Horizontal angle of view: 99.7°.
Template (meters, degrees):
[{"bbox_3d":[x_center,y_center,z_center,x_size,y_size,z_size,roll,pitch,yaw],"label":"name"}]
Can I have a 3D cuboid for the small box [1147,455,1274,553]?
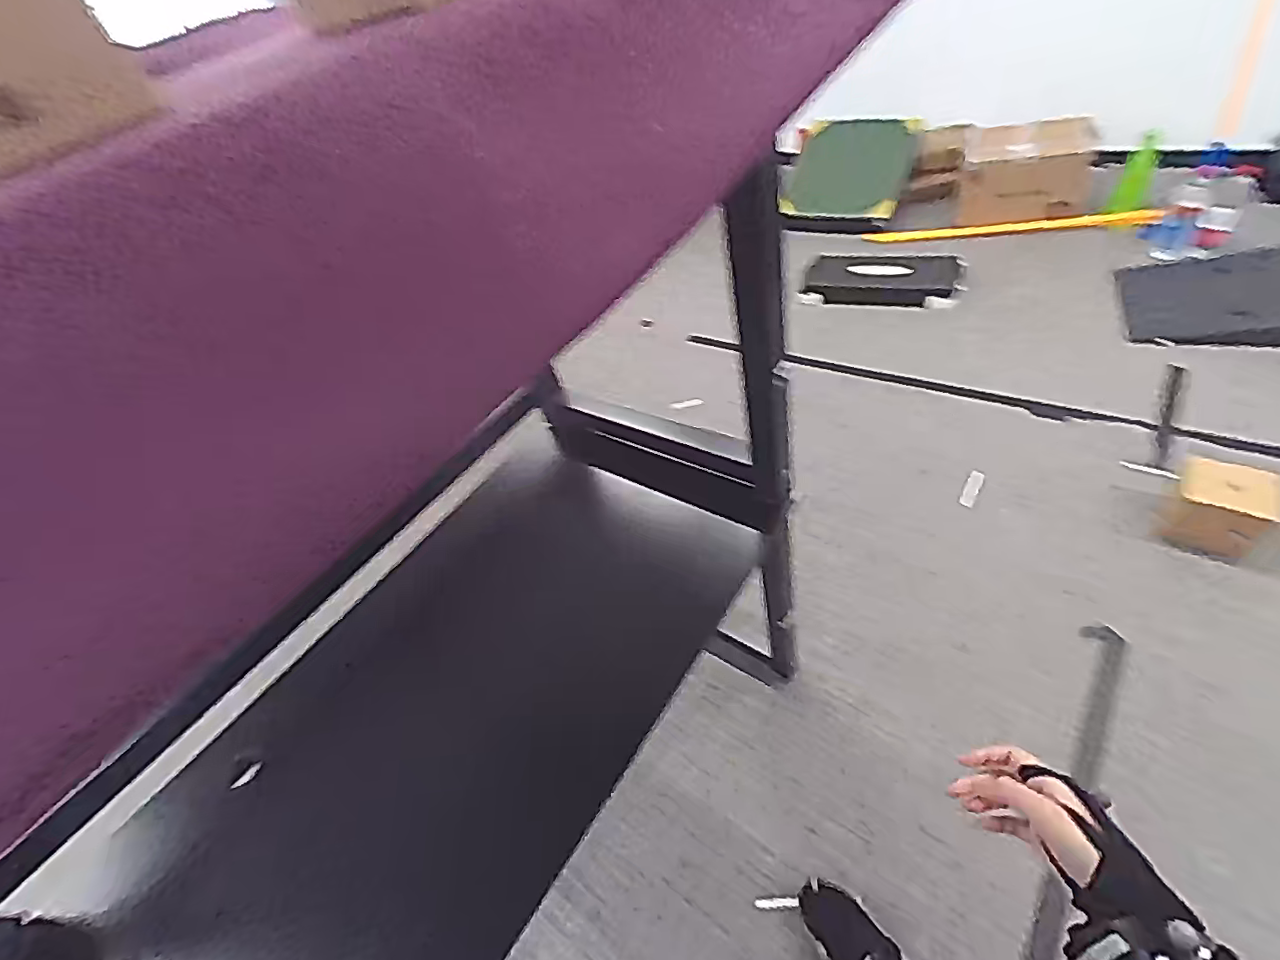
[{"bbox_3d":[1.493,0.066,1.421,0.179,0.176,0.168,21,57,31],"label":"small box"}]

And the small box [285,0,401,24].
[{"bbox_3d":[-0.182,-0.436,0.360,0.179,0.176,0.168,25,61,34],"label":"small box"}]
